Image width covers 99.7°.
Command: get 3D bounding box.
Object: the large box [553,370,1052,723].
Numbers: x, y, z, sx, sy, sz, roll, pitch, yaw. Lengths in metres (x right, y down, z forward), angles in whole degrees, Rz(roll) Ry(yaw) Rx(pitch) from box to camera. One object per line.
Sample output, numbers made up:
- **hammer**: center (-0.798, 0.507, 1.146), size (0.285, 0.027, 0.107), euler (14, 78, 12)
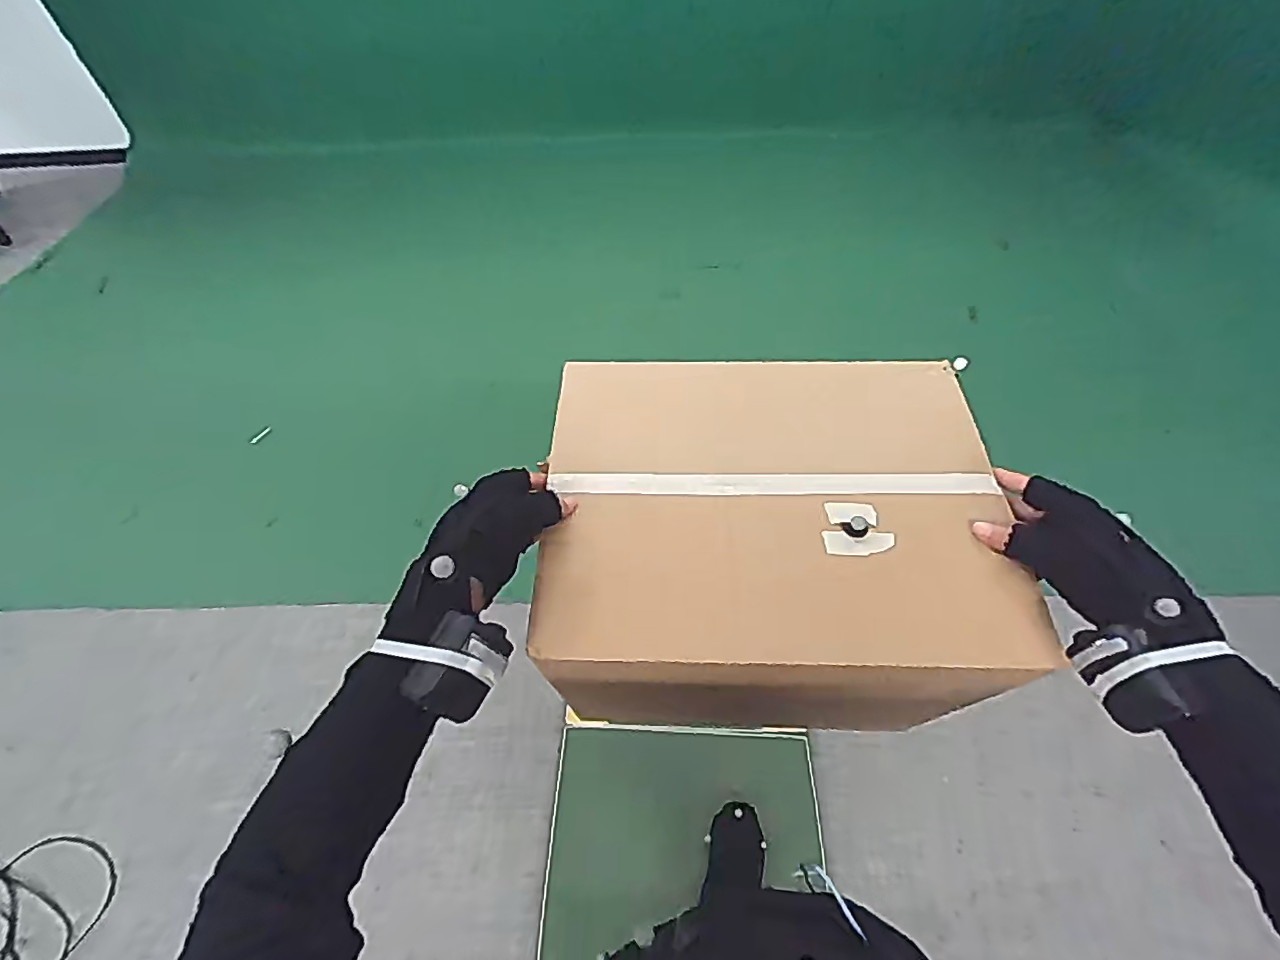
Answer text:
- **large box**: center (0.129, 0.092, 0.631), size (0.408, 0.320, 0.320), euler (0, 58, 2)
